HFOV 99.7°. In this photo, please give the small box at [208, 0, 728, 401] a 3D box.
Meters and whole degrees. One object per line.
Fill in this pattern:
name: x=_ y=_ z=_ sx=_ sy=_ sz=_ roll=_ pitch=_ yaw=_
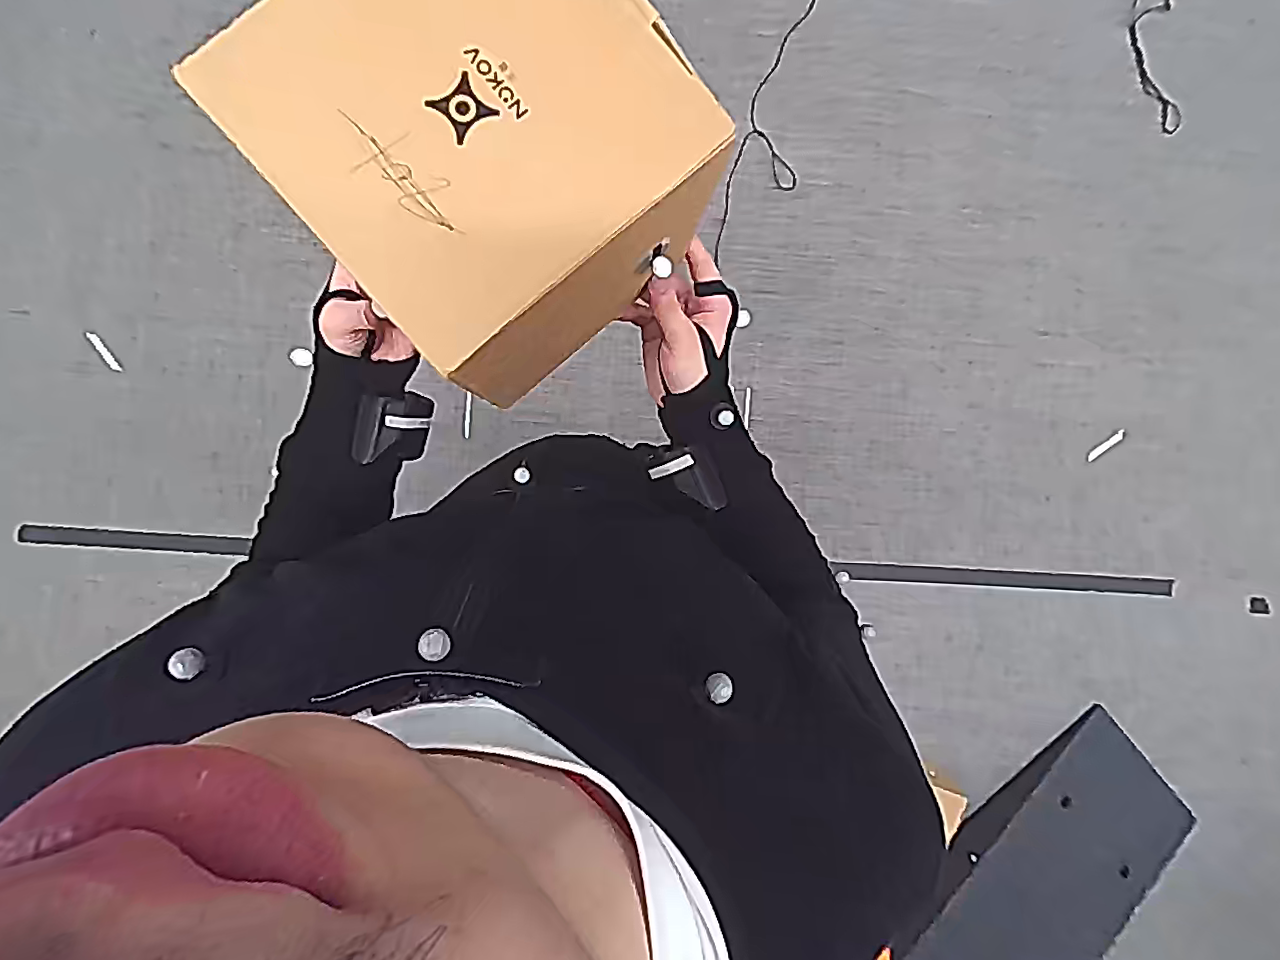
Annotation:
small box: x=-0.080 y=-0.169 z=0.324 sx=0.179 sy=0.176 sz=0.168 roll=-42 pitch=94 yaw=-2
